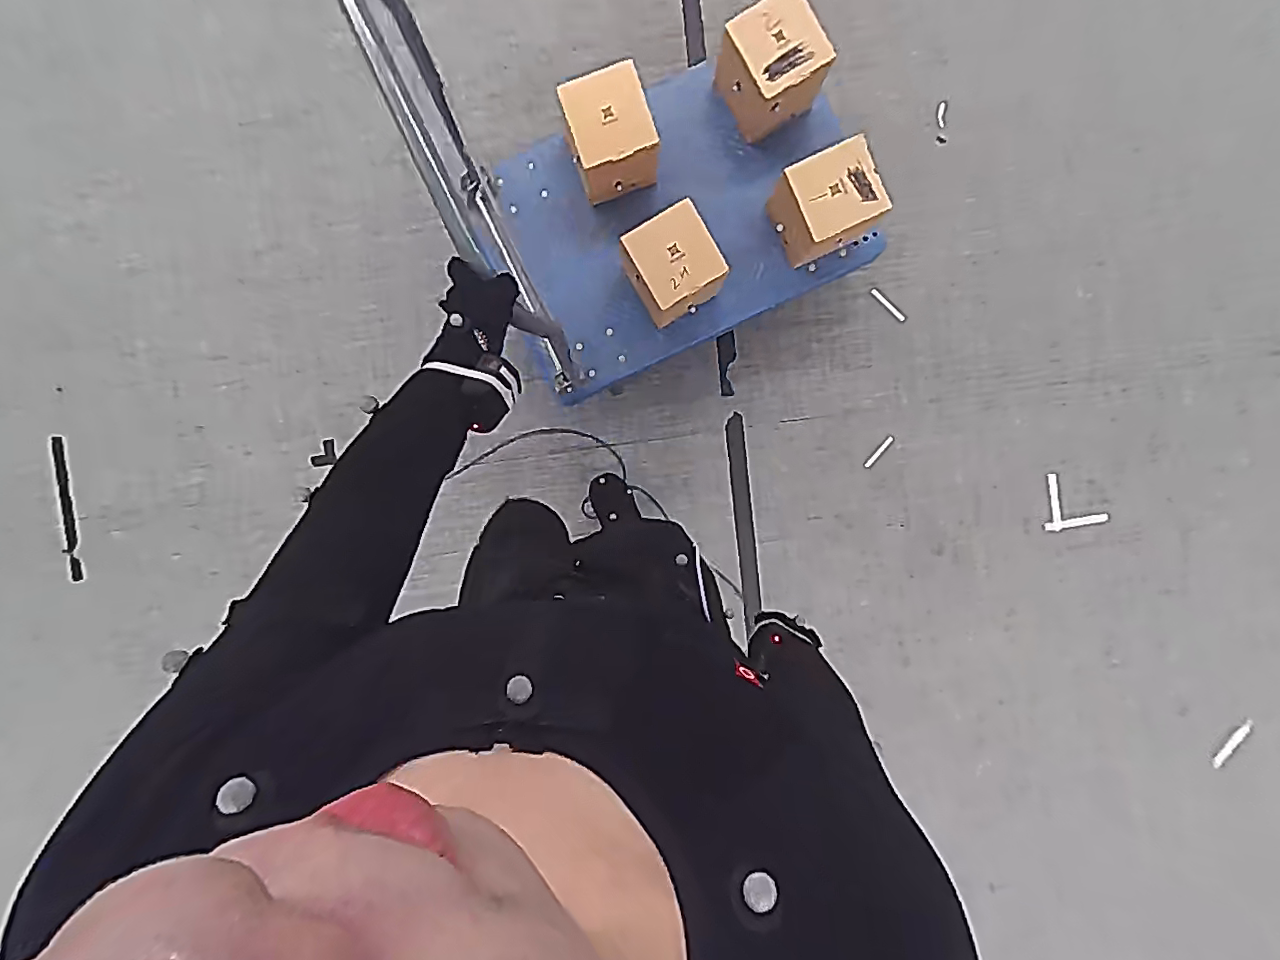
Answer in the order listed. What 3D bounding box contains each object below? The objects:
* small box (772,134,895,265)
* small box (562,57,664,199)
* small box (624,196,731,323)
[{"bbox_3d":[0.412,-0.601,1.180,0.179,0.176,0.168,-24,93,3],"label":"small box"},{"bbox_3d":[-0.057,-0.750,1.170,0.168,0.176,0.179,-20,96,0],"label":"small box"},{"bbox_3d":[0.077,-0.473,1.188,0.168,0.176,0.179,-30,93,2],"label":"small box"}]
